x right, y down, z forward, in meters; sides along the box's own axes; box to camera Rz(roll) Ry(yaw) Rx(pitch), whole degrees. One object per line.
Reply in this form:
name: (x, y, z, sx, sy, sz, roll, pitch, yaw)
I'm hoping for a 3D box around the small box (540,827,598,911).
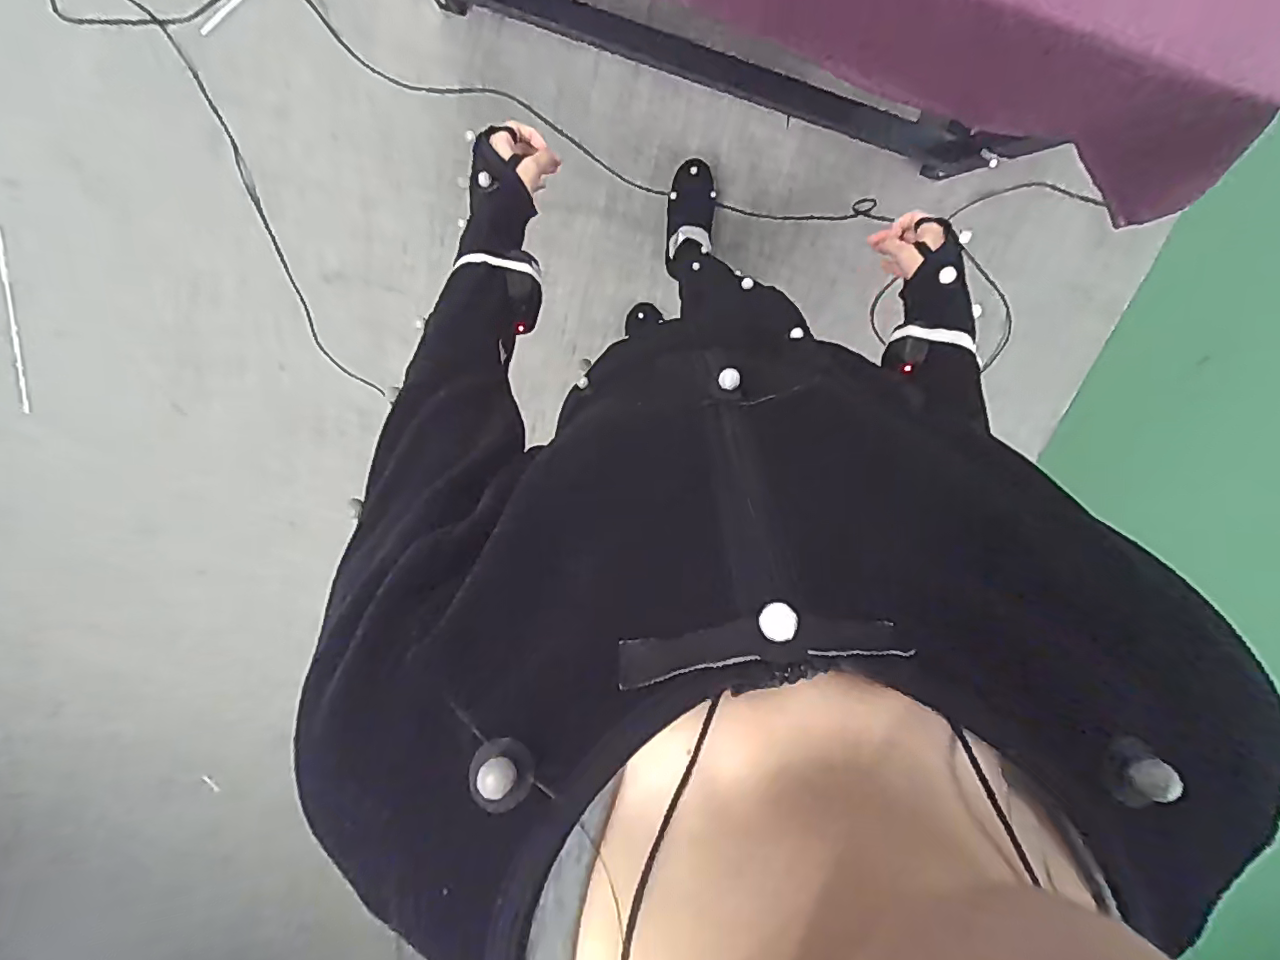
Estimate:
small box: (-0.254, 1.414, 1.971, 0.168, 0.176, 0.179, 16, 110, -7)
